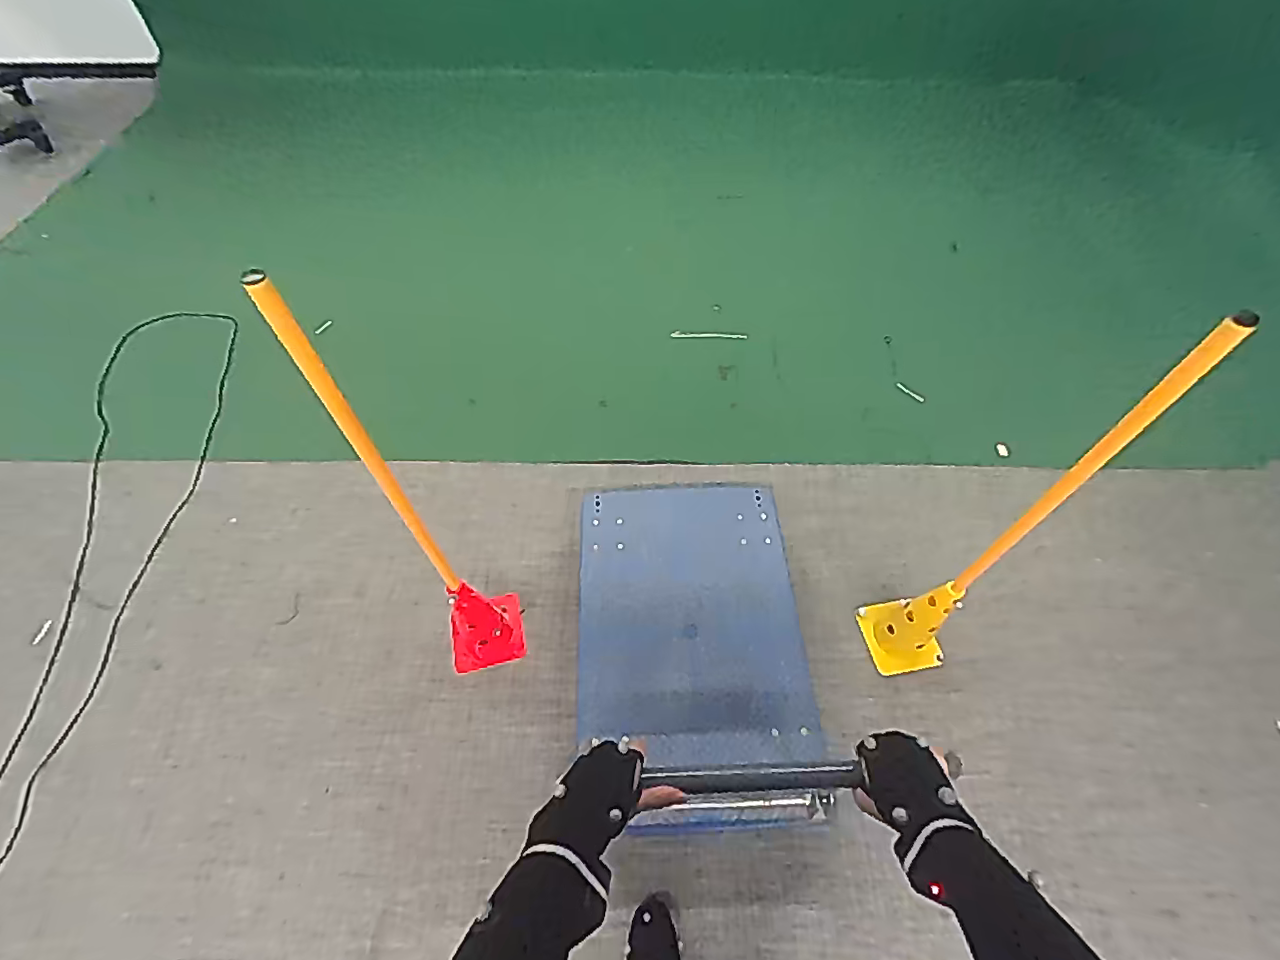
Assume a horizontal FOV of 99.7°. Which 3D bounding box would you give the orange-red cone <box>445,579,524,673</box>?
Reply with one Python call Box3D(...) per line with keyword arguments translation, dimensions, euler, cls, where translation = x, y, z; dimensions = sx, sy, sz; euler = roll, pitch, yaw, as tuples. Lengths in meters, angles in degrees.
Box3D(translation=(-0.440, 0.348, 1.409), dimensions=(0.199, 0.360, 0.198), euler=(-12, 57, -7), cls="orange-red cone")
